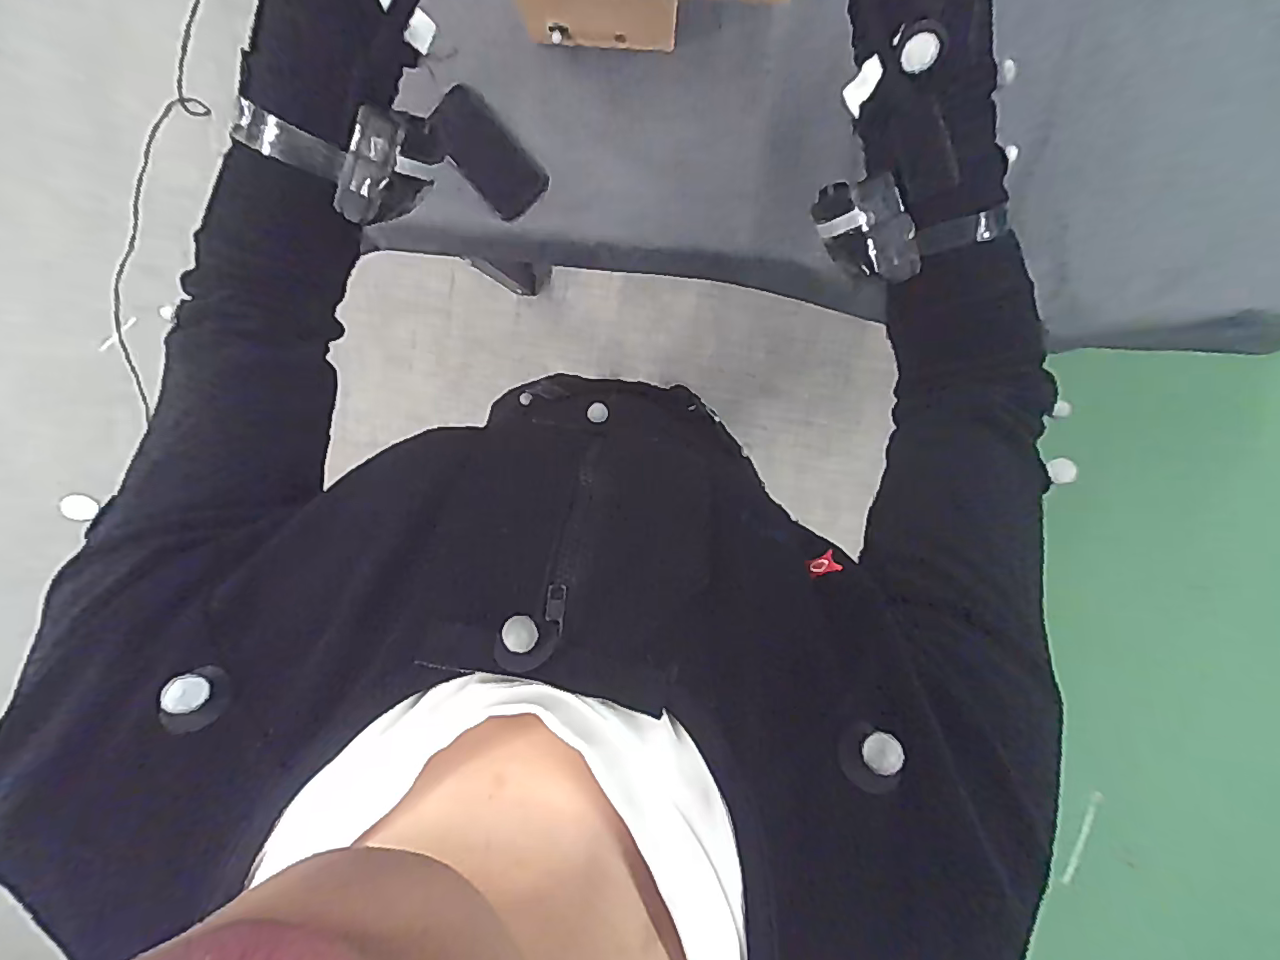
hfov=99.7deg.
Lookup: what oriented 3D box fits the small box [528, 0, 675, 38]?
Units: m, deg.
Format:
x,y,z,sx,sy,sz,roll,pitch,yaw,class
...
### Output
x,y,z,sx,sy,sz,roll,pitch,yaw,class
-0.040,-0.590,0.541,0.168,0.176,0.179,4,99,0,small box
